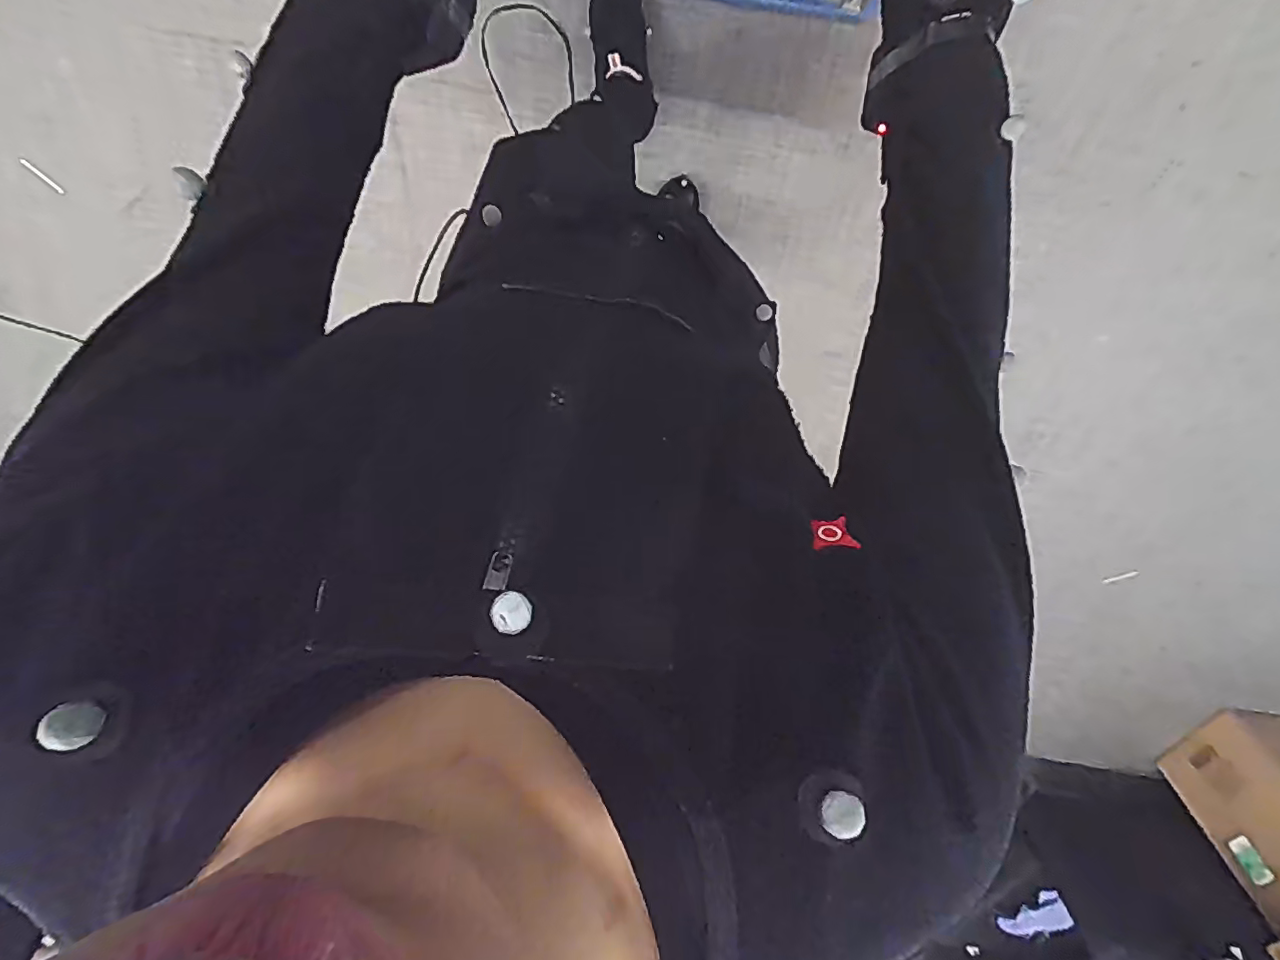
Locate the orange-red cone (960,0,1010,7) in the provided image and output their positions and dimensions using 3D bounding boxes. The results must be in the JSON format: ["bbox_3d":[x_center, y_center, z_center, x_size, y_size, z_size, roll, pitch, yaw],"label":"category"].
[{"bbox_3d":[0.580,-0.865,0.797,0.199,0.360,0.198,11,125,0],"label":"orange-red cone"}]
